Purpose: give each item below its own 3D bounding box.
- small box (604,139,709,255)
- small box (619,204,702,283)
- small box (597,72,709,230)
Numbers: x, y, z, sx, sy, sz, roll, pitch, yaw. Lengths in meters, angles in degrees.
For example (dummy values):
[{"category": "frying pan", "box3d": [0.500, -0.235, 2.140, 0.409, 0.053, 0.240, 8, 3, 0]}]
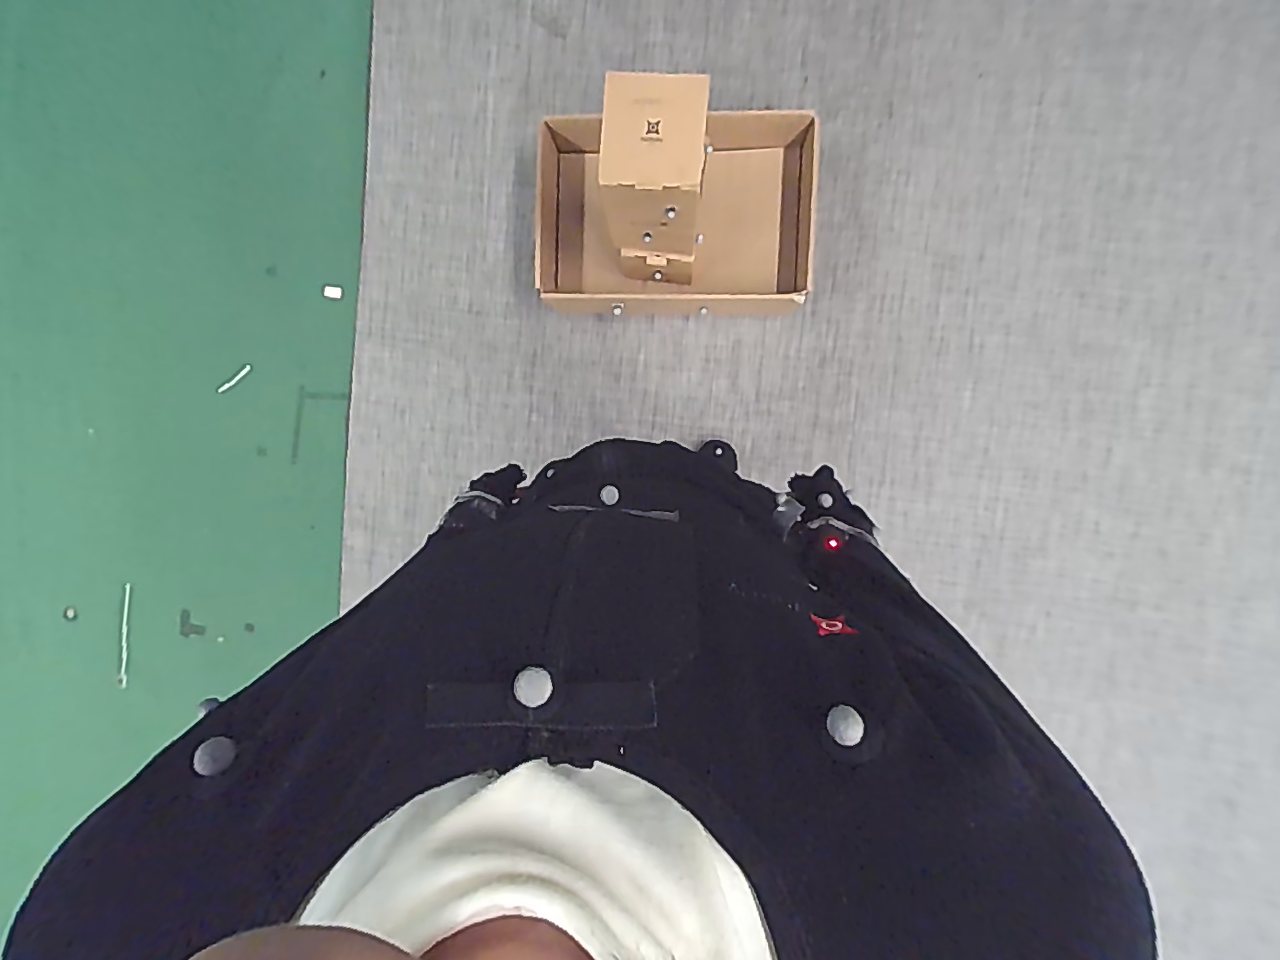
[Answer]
[{"category": "small box", "box3d": [0.037, -0.573, 1.092, 0.179, 0.176, 0.168, 11, 94, 5]}, {"category": "small box", "box3d": [0.052, -0.573, 1.256, 0.168, 0.176, 0.179, 8, 95, 3]}, {"category": "small box", "box3d": [0.024, -0.553, 0.932, 0.168, 0.176, 0.179, 5, 92, 2]}]
